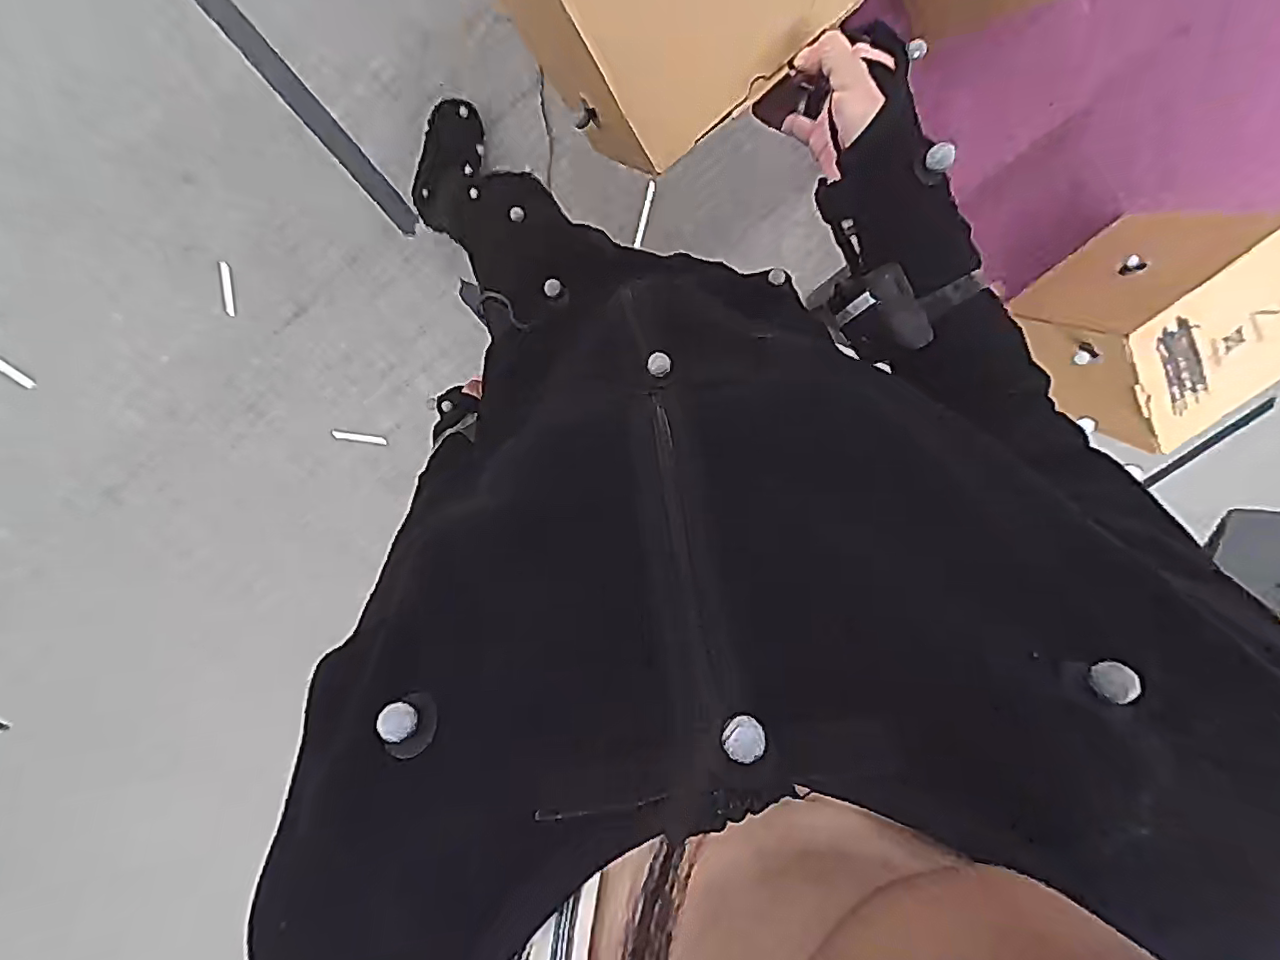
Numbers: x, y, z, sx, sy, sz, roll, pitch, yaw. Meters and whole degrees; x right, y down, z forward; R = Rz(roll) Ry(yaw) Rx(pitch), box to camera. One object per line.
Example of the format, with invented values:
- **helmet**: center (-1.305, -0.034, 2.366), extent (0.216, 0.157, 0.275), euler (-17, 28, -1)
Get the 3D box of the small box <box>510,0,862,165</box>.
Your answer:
- **small box**: center (0.008, -0.342, 0.344), extent (0.168, 0.176, 0.179), euler (-38, 129, 7)
